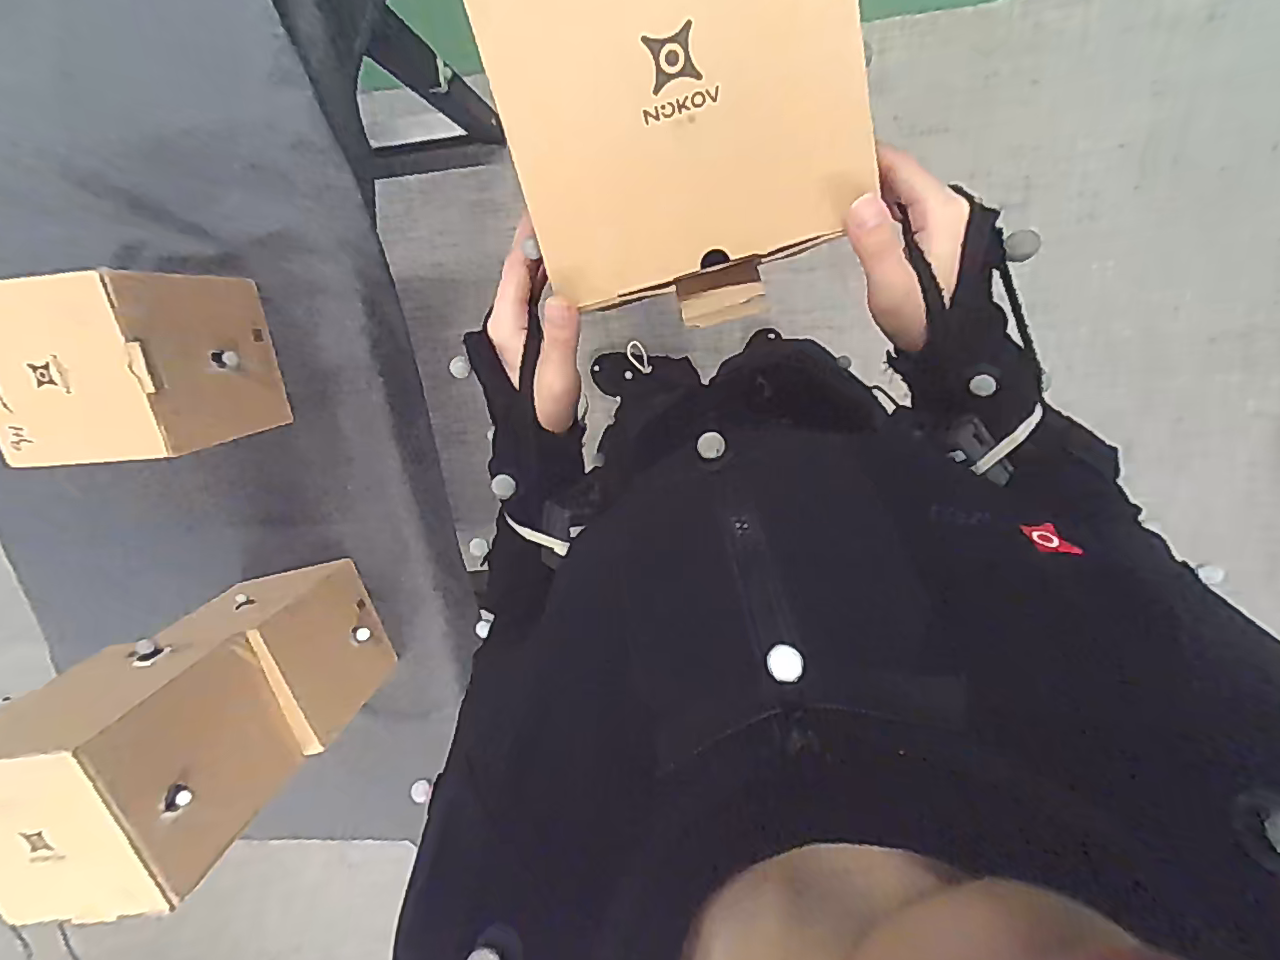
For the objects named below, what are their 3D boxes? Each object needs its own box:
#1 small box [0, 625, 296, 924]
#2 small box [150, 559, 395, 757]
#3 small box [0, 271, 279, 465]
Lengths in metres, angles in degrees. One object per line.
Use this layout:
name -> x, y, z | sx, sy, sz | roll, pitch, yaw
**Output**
small box -> -0.471, 0.264, 0.507 | 0.168, 0.176, 0.179 | -10, 106, 6
small box -> -0.442, 0.216, 0.660 | 0.179, 0.176, 0.168 | -14, 106, 8
small box -> -0.515, -0.121, 0.557 | 0.179, 0.176, 0.168 | -4, 108, 5
